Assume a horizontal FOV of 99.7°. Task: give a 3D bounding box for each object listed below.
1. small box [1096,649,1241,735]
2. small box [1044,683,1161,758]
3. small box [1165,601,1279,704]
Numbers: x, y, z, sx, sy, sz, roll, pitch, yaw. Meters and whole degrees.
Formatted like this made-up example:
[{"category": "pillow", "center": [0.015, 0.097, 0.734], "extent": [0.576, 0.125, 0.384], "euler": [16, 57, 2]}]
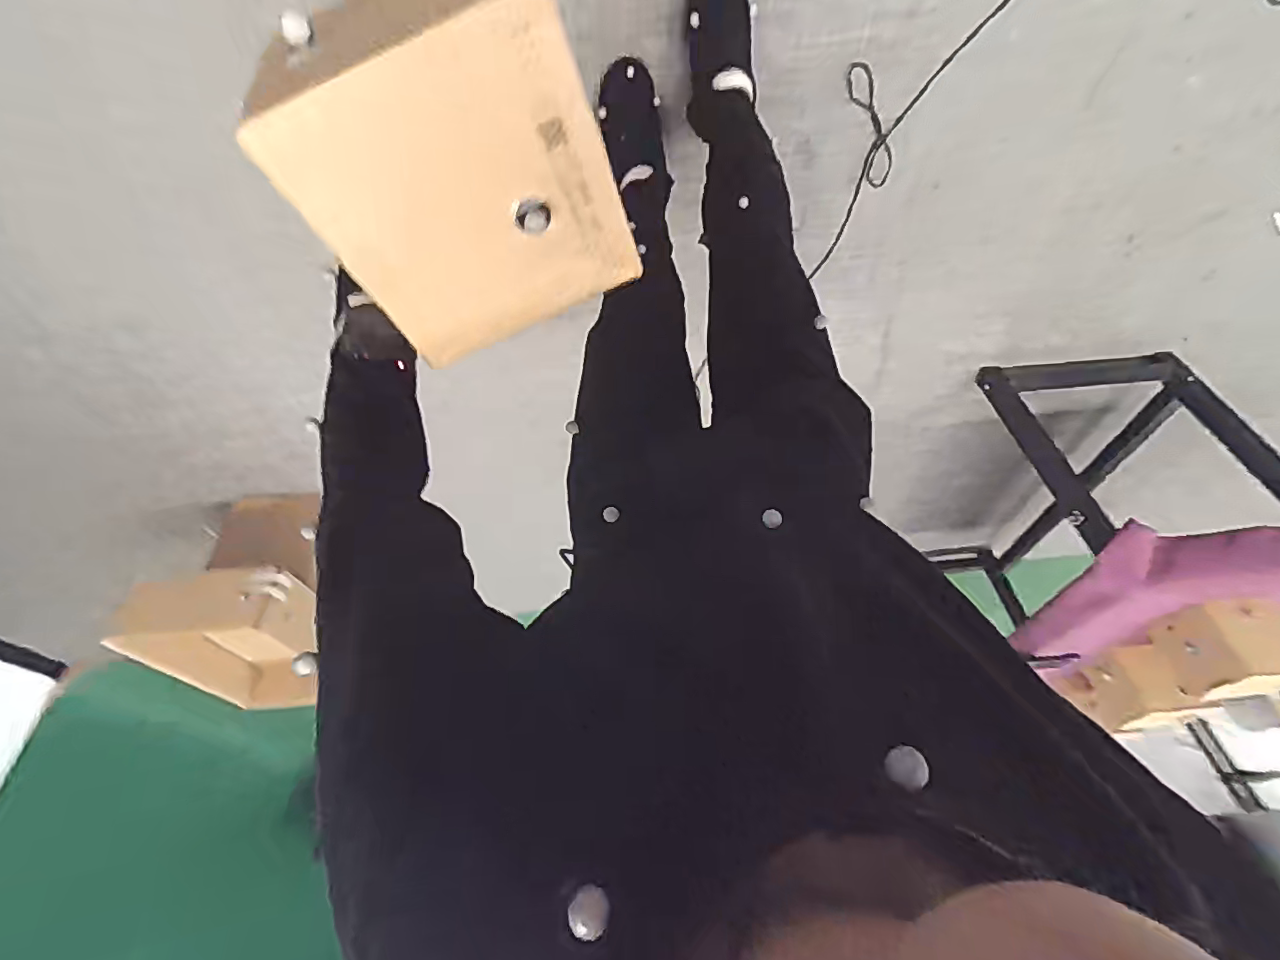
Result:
[{"category": "small box", "center": [1.361, 0.550, 1.409], "extent": [0.179, 0.176, 0.168], "euler": [-7, 141, 3]}, {"category": "small box", "center": [1.362, 0.713, 1.611], "extent": [0.168, 0.176, 0.179], "euler": [-2, 141, -3]}, {"category": "small box", "center": [1.348, 0.381, 1.200], "extent": [0.179, 0.176, 0.168], "euler": [-3, 141, -1]}]
